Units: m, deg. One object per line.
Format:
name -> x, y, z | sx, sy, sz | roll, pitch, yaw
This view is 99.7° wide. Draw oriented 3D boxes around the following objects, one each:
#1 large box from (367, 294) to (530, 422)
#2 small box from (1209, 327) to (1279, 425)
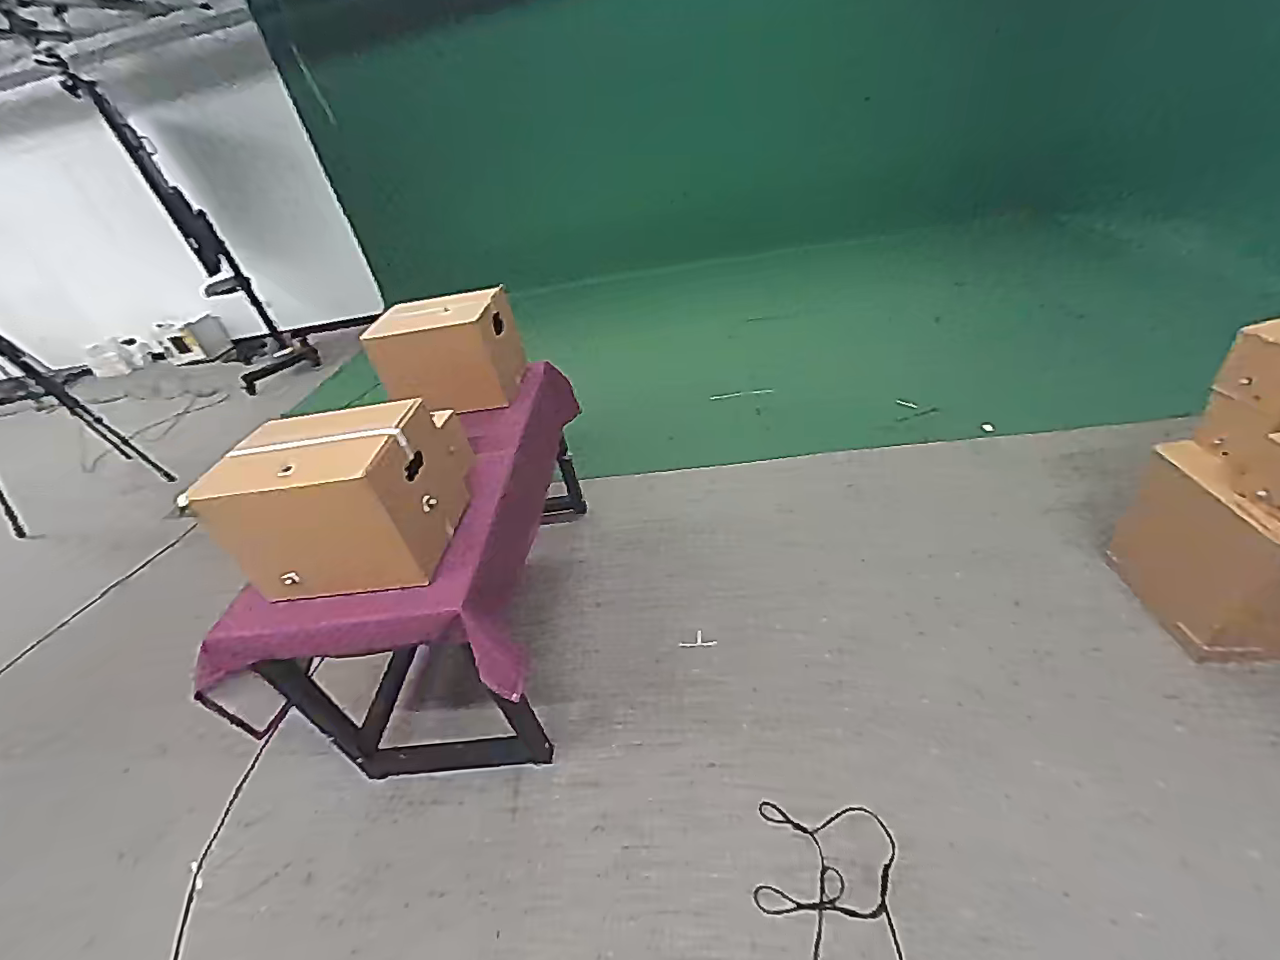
large box -> -0.648, -0.427, 1.898 | 0.408, 0.320, 0.320 | -5, 37, 8
small box -> 1.570, -0.257, 1.314 | 0.179, 0.176, 0.168 | -13, 37, 2
